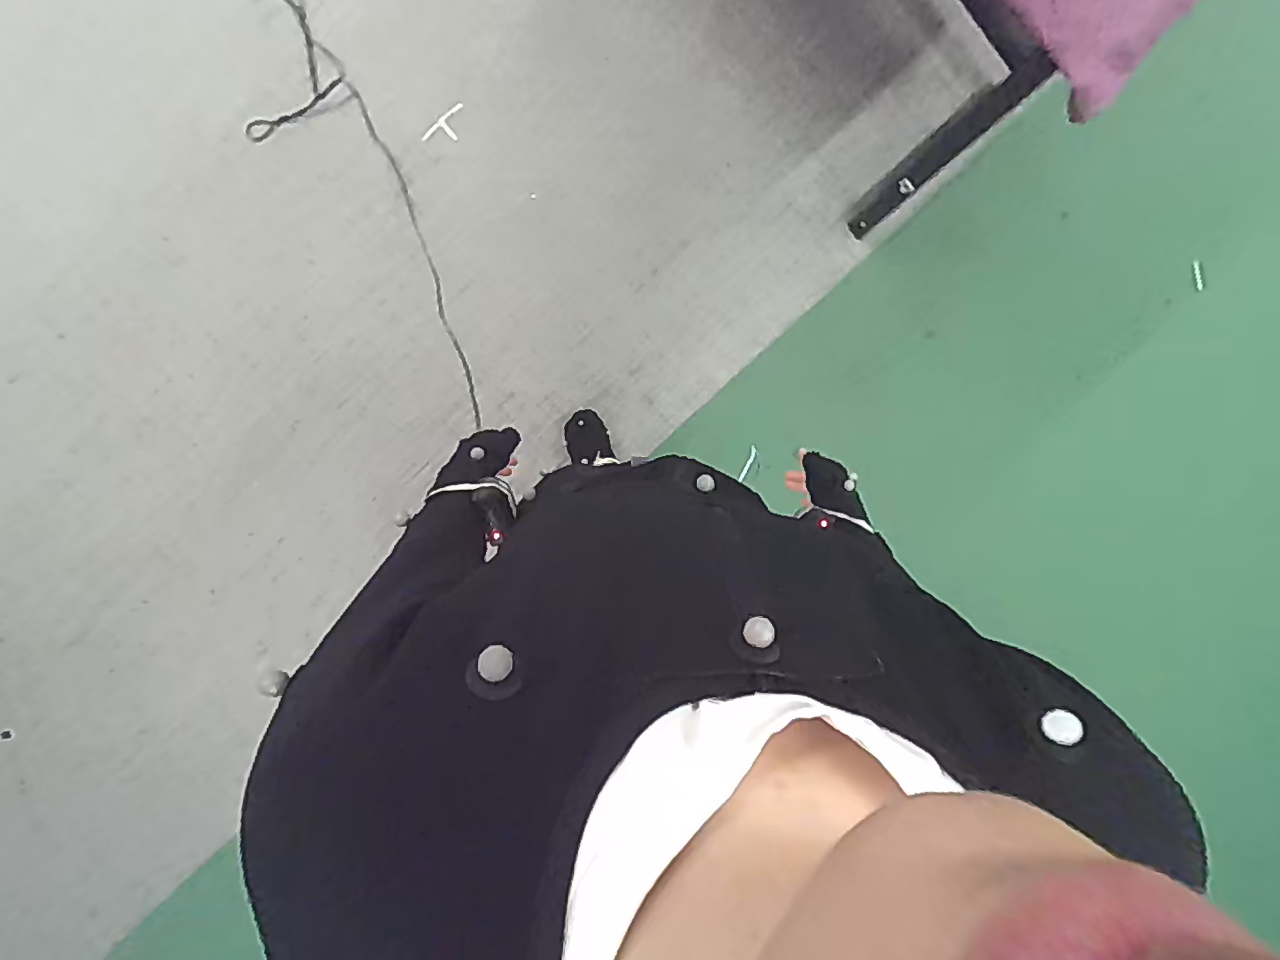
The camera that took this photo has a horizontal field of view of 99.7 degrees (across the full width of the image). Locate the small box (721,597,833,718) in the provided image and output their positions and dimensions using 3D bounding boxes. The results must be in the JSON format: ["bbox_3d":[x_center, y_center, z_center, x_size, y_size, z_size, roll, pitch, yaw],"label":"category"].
[{"bbox_3d":[0.306,0.404,1.260,0.179,0.176,0.168,-40,97,1],"label":"small box"}]
